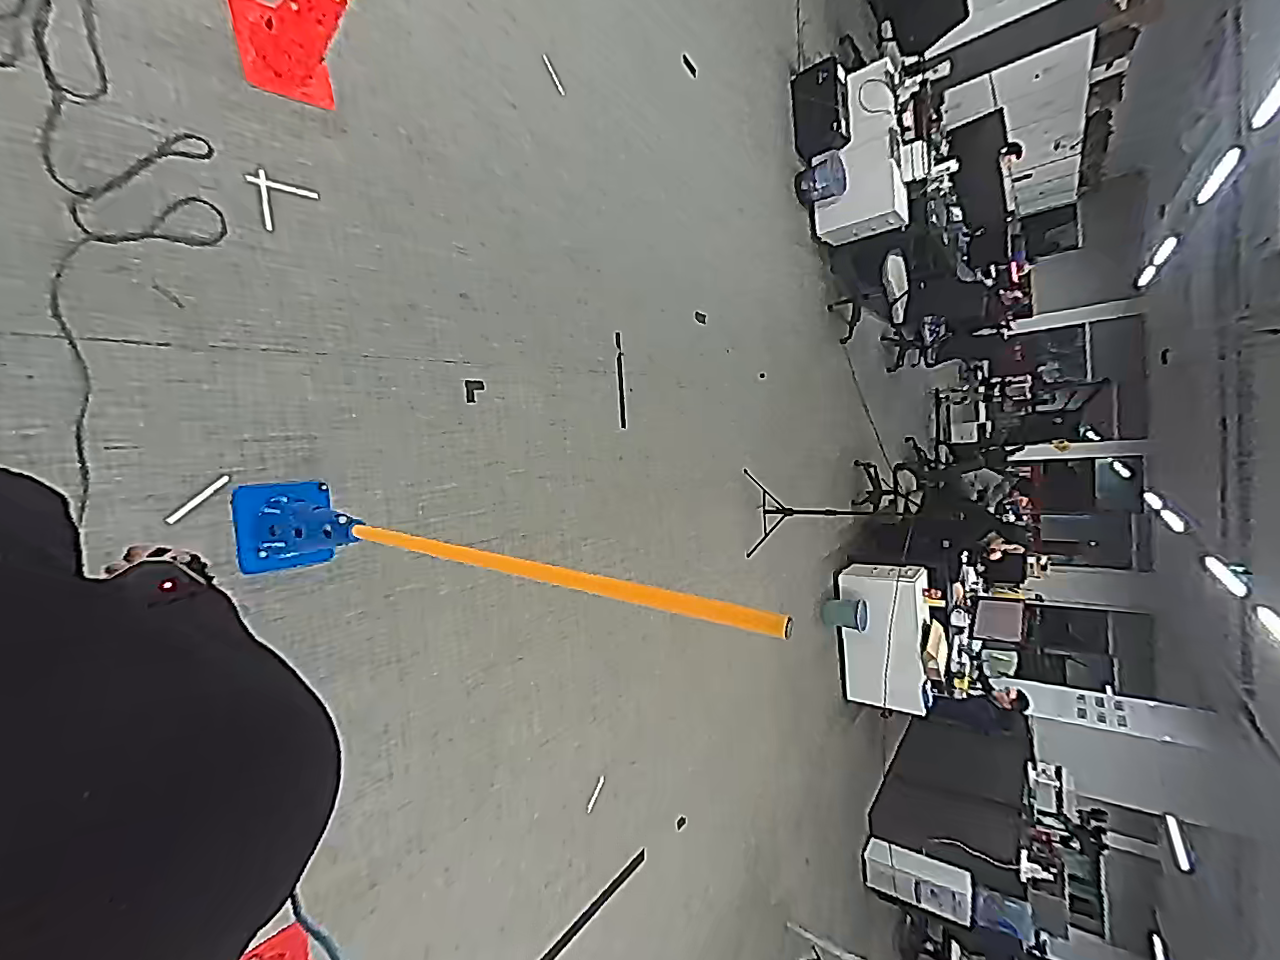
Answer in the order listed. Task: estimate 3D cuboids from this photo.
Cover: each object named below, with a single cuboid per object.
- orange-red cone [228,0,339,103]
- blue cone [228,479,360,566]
[{"bbox_3d":[-0.707,-1.022,1.163,0.199,0.360,0.198,-17,101,-50],"label":"orange-red cone"},{"bbox_3d":[-0.698,0.089,1.147,0.193,0.380,0.192,-5,91,-53],"label":"blue cone"}]
